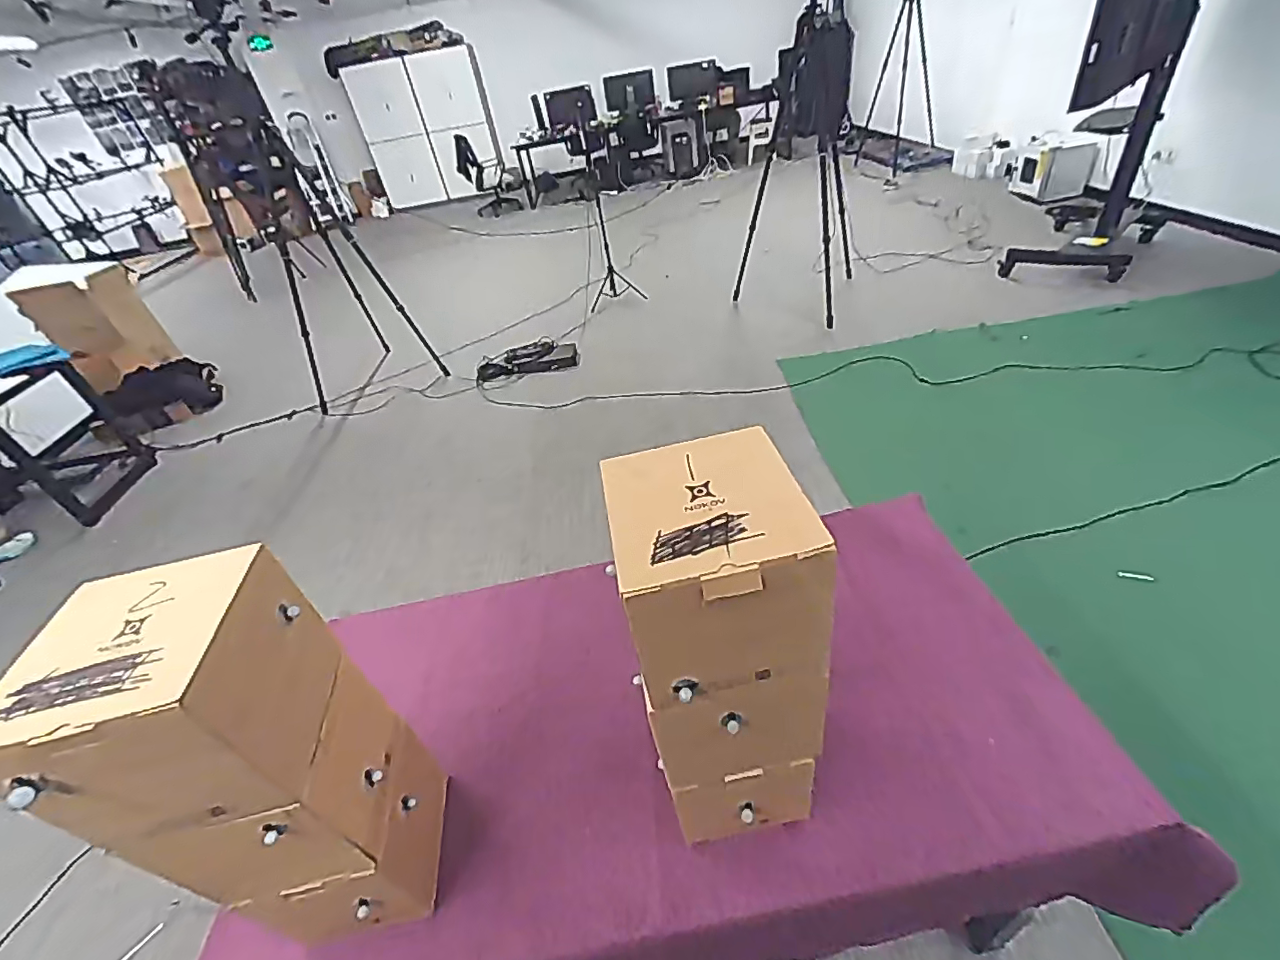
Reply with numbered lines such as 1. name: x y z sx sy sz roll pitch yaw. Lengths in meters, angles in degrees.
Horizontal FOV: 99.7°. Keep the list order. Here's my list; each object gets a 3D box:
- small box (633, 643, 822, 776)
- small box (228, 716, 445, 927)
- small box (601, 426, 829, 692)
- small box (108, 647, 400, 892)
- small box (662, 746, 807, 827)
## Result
1. small box: 0.089 0.207 0.613 0.179 0.176 0.168 -12 39 -1
2. small box: -0.366 0.443 0.697 0.168 0.176 0.179 -12 38 -2
3. small box: 0.065 0.078 0.514 0.168 0.176 0.179 -12 38 -1
4. small box: -0.394 0.319 0.596 0.179 0.176 0.168 -12 39 -5
5. small box: 0.111 0.333 0.718 0.168 0.176 0.179 -11 39 -1
